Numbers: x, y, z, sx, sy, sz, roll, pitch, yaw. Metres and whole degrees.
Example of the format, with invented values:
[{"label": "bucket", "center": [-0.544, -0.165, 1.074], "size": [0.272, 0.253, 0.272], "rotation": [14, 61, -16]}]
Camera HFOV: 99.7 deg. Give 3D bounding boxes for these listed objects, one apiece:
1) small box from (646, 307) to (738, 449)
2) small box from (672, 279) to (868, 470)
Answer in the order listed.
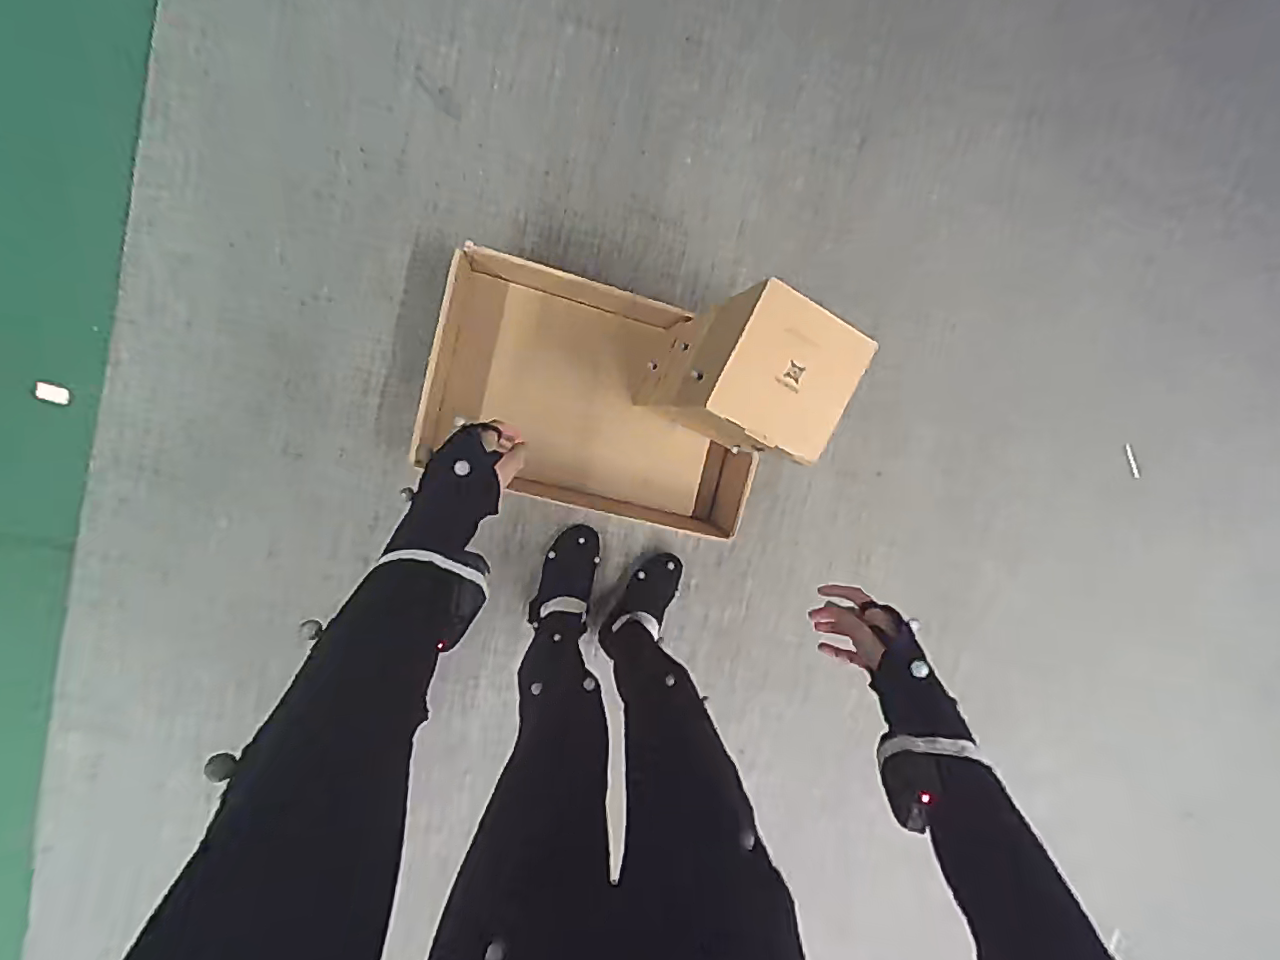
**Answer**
[{"label": "small box", "center": [0.126, -0.155, 0.885], "size": [0.179, 0.176, 0.168], "rotation": [25, 93, -13]}, {"label": "small box", "center": [0.158, -0.134, 0.726], "size": [0.168, 0.176, 0.179], "rotation": [27, 92, -14]}]
